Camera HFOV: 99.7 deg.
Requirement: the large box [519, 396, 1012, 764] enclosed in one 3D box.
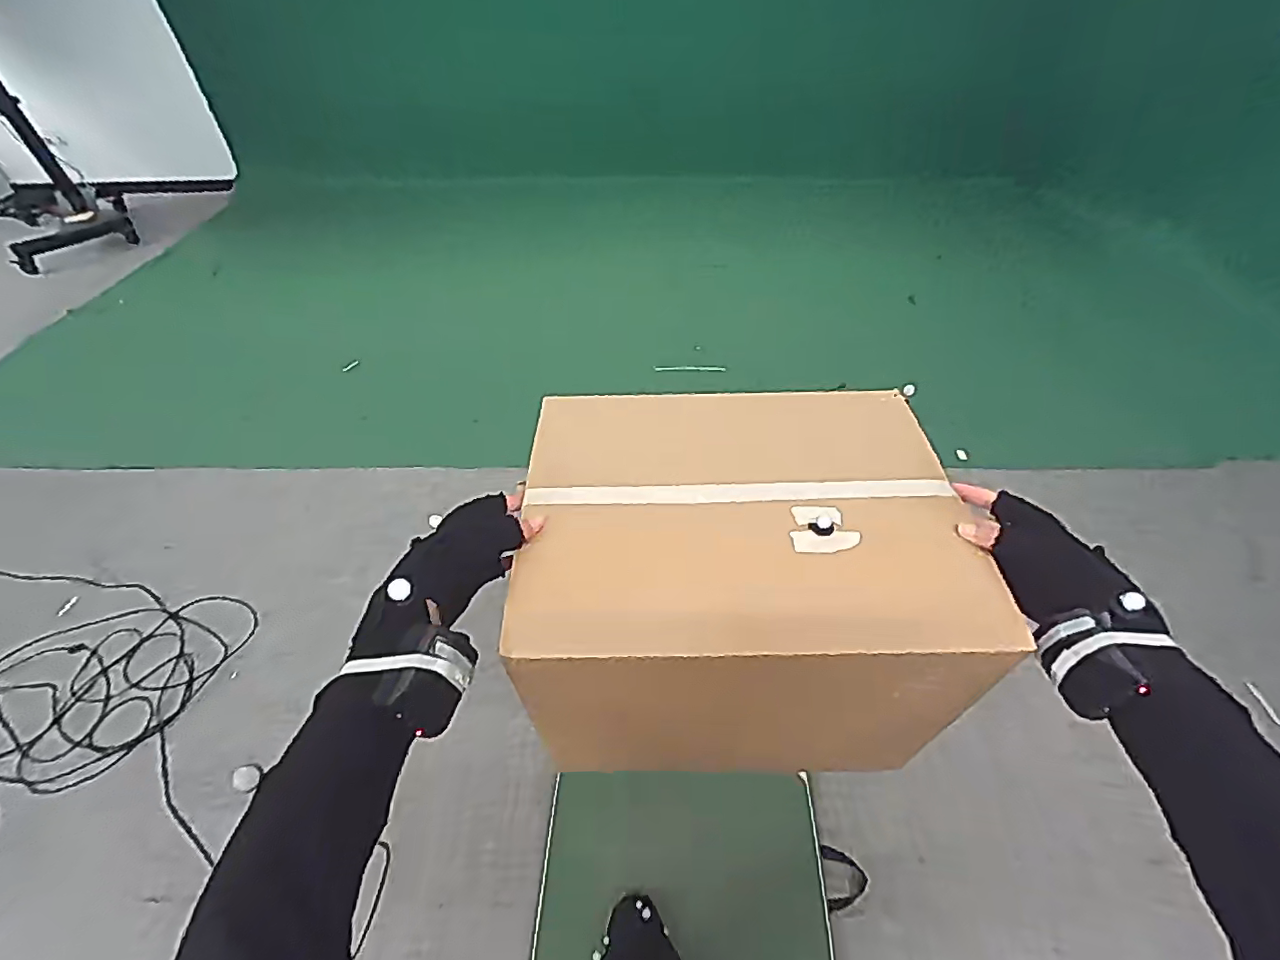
[{"bbox_3d":[0.097,0.119,0.635,0.408,0.320,0.320,-1,48,0],"label":"large box"}]
